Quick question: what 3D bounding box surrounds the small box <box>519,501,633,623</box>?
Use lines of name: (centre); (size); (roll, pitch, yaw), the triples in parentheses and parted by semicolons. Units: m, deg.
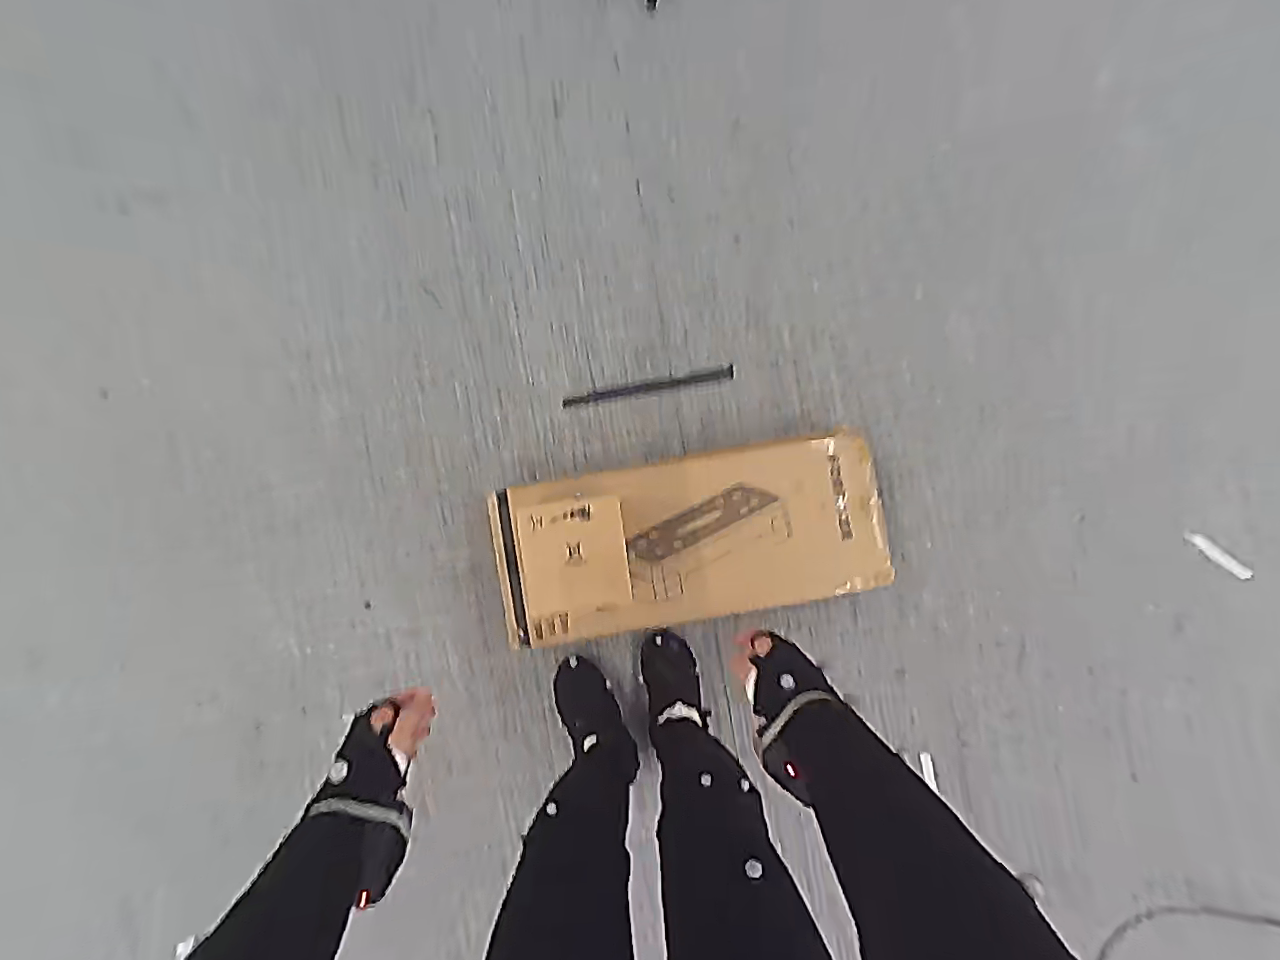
small box: (-0.103, 0.133, 0.934); (0.168, 0.176, 0.179); (-8, 88, -2)
